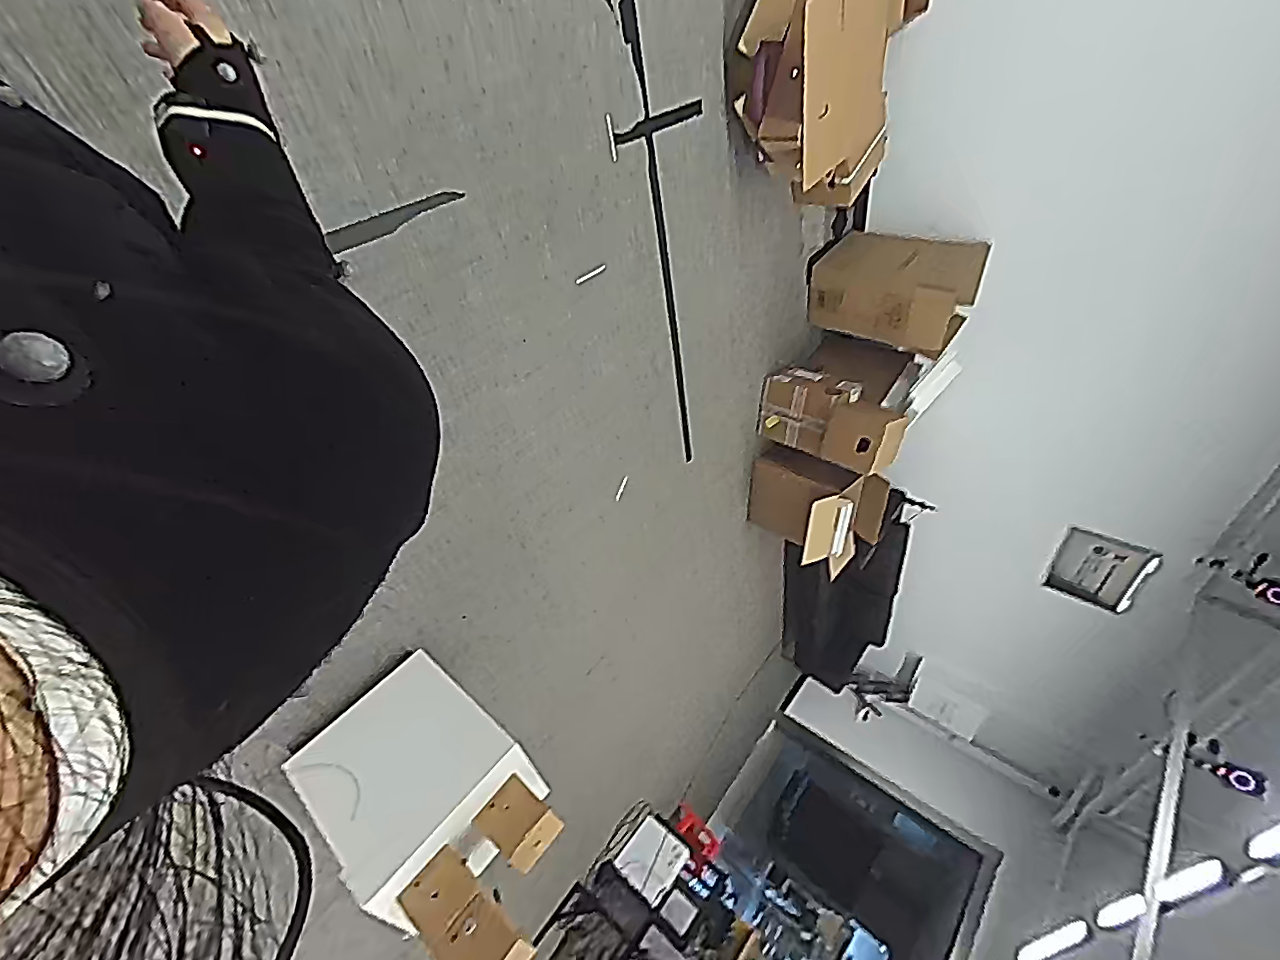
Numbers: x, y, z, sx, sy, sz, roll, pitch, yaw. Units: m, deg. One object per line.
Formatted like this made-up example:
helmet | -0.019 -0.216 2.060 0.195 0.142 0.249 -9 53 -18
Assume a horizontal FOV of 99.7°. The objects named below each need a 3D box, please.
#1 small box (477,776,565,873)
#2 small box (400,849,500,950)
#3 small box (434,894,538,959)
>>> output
small box | -0.360 1.039 1.641 0.168 0.176 0.179 -44 140 -29
small box | -0.526 1.168 1.495 0.168 0.176 0.179 -42 139 -33
small box | -0.400 1.233 1.412 0.168 0.176 0.179 -44 141 -32
